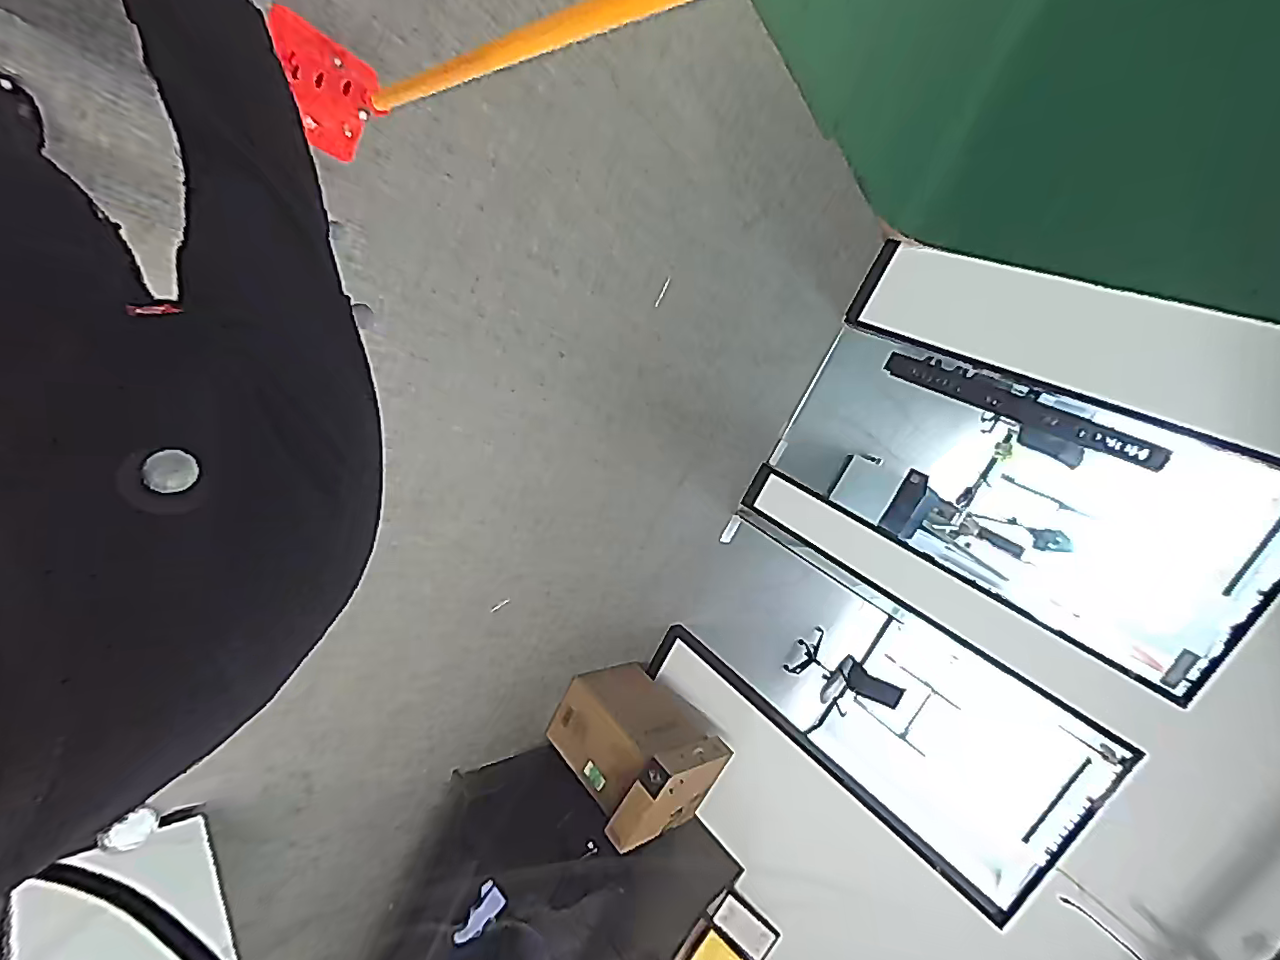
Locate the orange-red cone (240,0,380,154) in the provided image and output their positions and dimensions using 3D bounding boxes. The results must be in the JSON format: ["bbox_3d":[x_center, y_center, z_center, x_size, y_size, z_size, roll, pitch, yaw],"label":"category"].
[{"bbox_3d":[-0.565,-0.729,0.998,0.199,0.360,0.198,14,107,-51],"label":"orange-red cone"}]
